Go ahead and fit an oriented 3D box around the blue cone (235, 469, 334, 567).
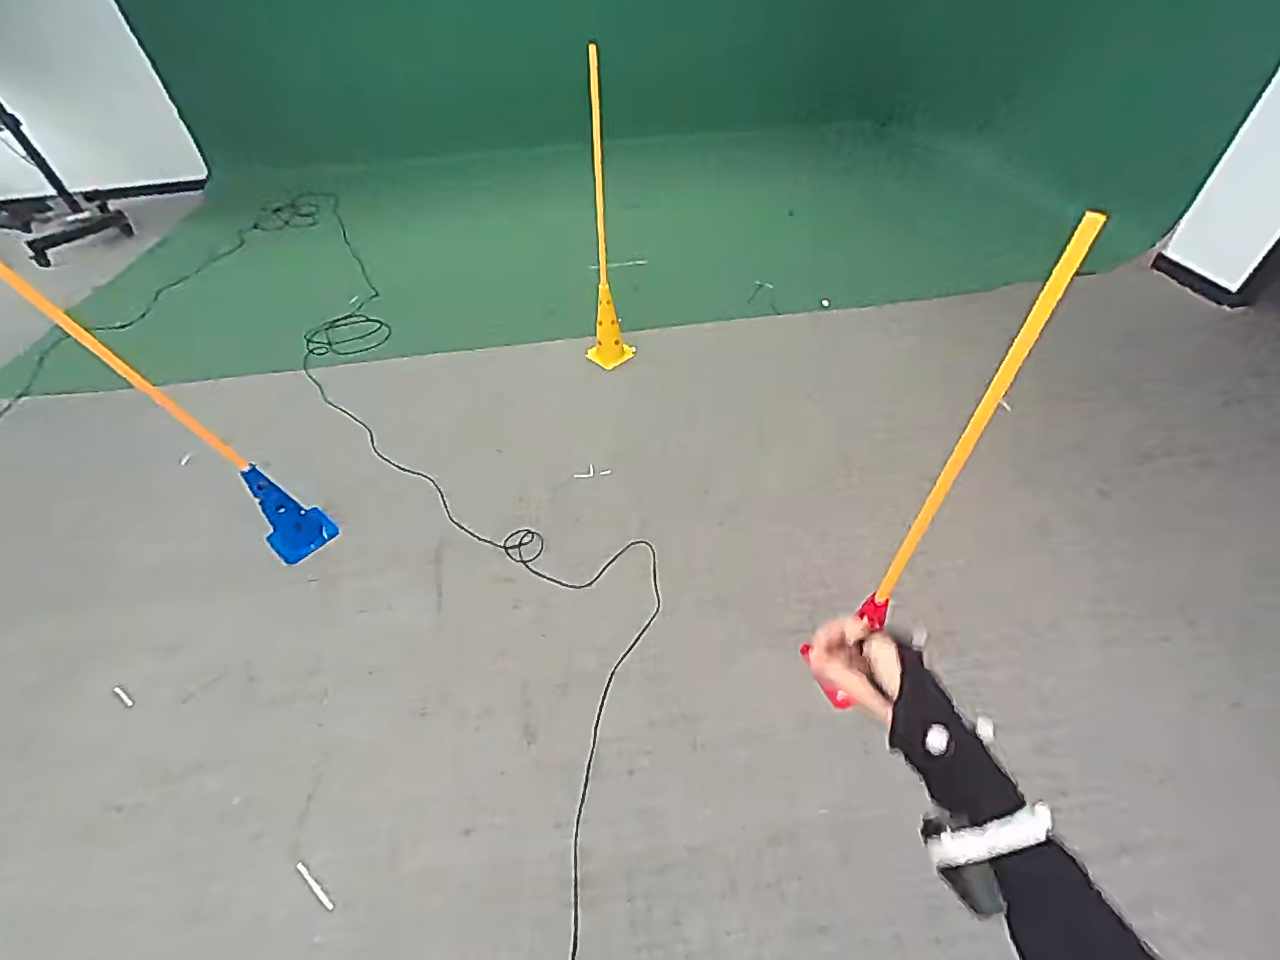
[{"bbox_3d":[-1.229,0.107,1.822,0.192,0.380,0.193,29,57,27],"label":"blue cone"}]
